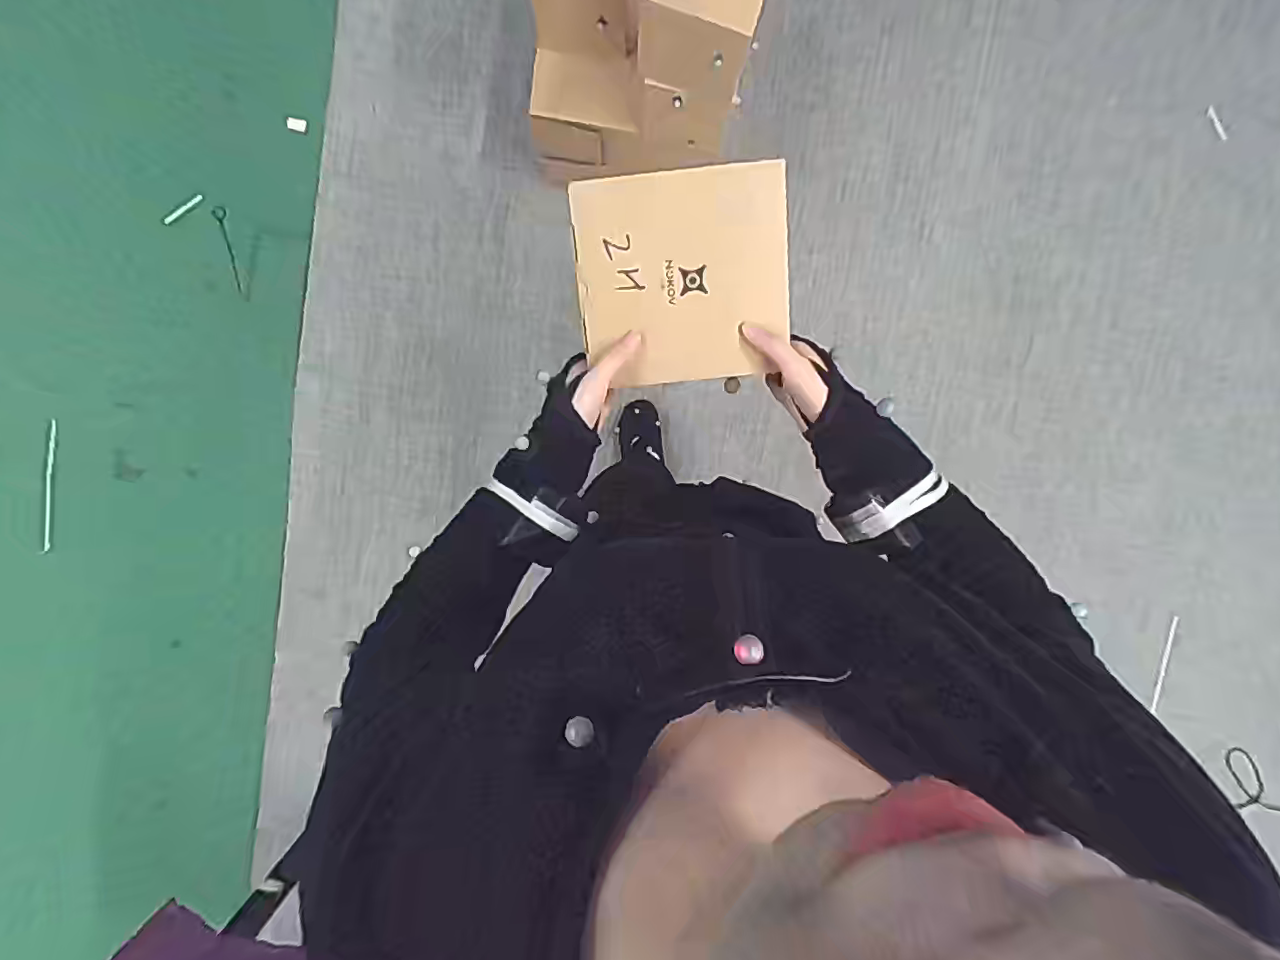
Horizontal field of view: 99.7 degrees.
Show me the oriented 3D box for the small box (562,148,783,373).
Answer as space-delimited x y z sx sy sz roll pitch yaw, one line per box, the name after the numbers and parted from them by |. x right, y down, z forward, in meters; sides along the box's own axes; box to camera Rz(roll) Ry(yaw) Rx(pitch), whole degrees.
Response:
0.030 -0.196 0.520 0.179 0.176 0.168 -4 104 3 | small box

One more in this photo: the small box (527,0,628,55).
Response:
-0.111 -0.942 1.010 0.179 0.176 0.168 6 93 0 | small box

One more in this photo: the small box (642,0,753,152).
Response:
0.098 -0.767 1.022 0.168 0.176 0.179 12 94 -2 | small box
